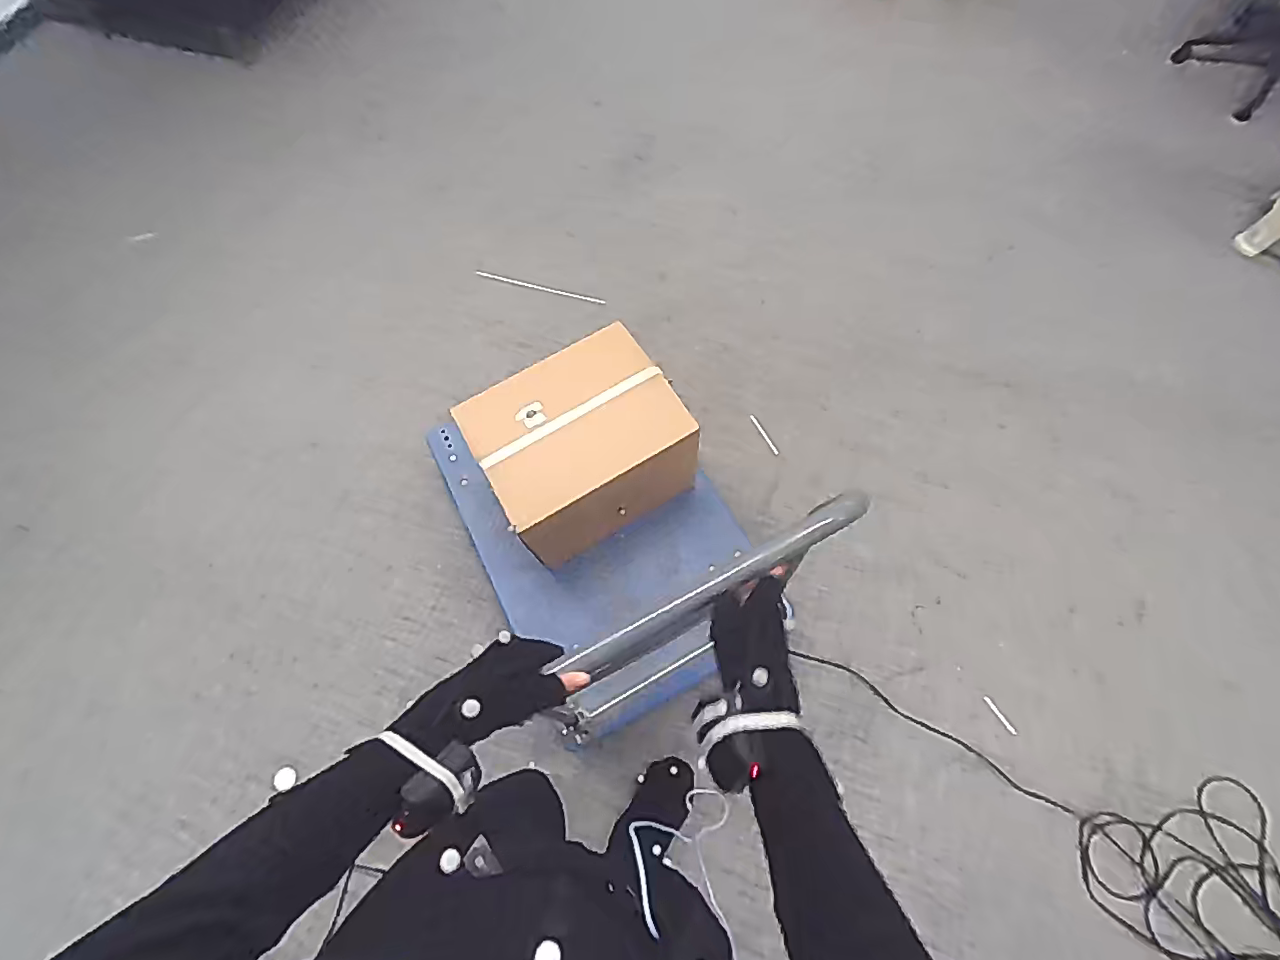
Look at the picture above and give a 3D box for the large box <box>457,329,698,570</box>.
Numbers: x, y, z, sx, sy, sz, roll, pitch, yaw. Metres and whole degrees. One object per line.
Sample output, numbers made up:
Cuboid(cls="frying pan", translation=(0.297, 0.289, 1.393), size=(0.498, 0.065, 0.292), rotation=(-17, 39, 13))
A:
Cuboid(cls="large box", translation=(-0.120, -0.054, 1.214), size=(0.408, 0.320, 0.320), rotation=(-31, 68, -8))
